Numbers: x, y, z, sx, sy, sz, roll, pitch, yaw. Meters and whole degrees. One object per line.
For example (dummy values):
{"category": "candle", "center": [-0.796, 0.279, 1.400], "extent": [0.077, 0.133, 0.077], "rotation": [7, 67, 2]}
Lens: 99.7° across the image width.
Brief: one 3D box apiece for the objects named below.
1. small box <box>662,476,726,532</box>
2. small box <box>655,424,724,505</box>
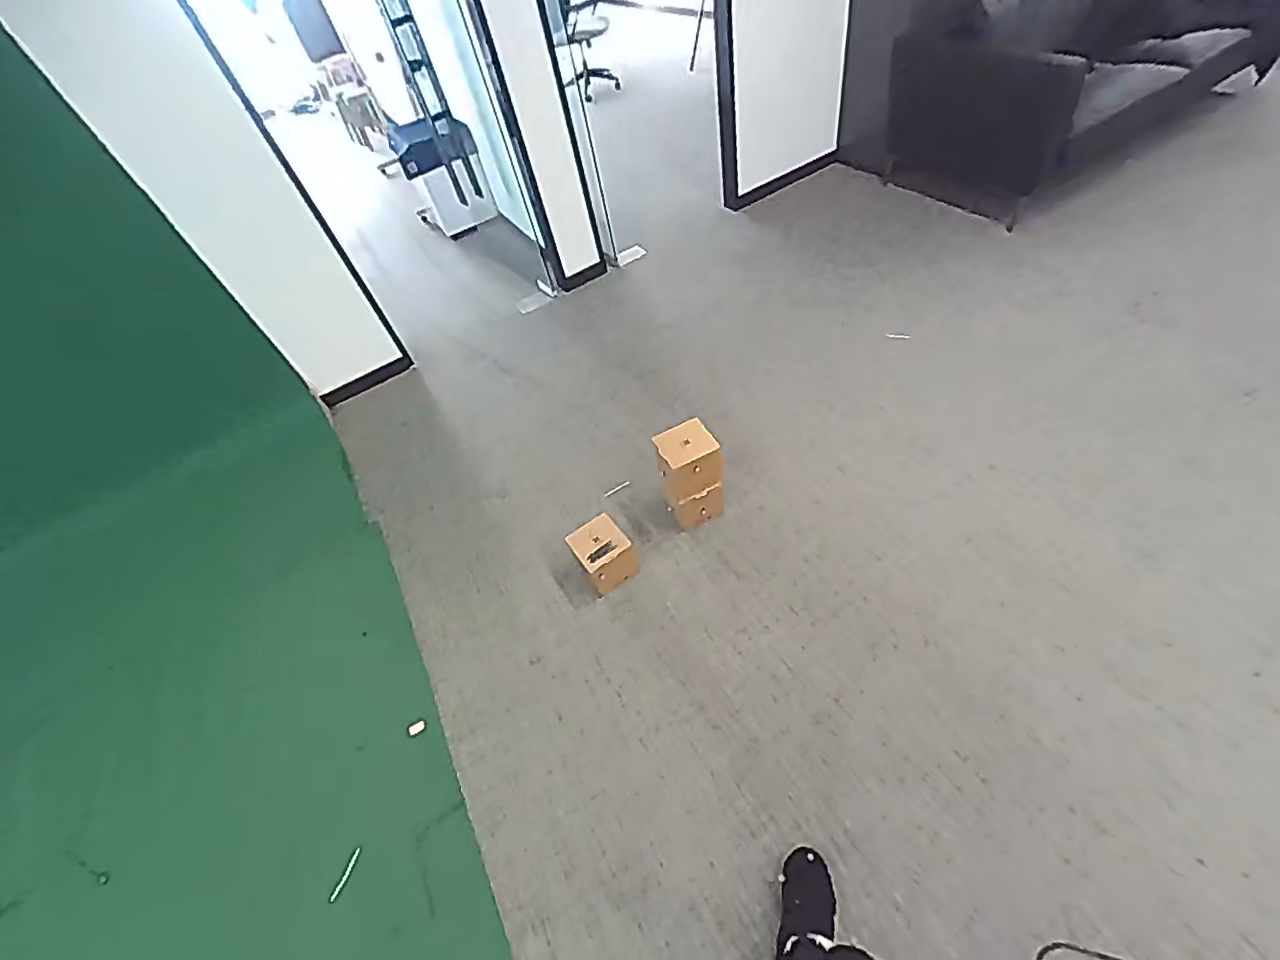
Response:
{"category": "small box", "center": [0.195, 0.062, 1.928], "extent": [0.168, 0.176, 0.179], "rotation": [-24, 51, -8]}
{"category": "small box", "center": [0.171, -0.050, 1.812], "extent": [0.179, 0.176, 0.168], "rotation": [-26, 50, -8]}
